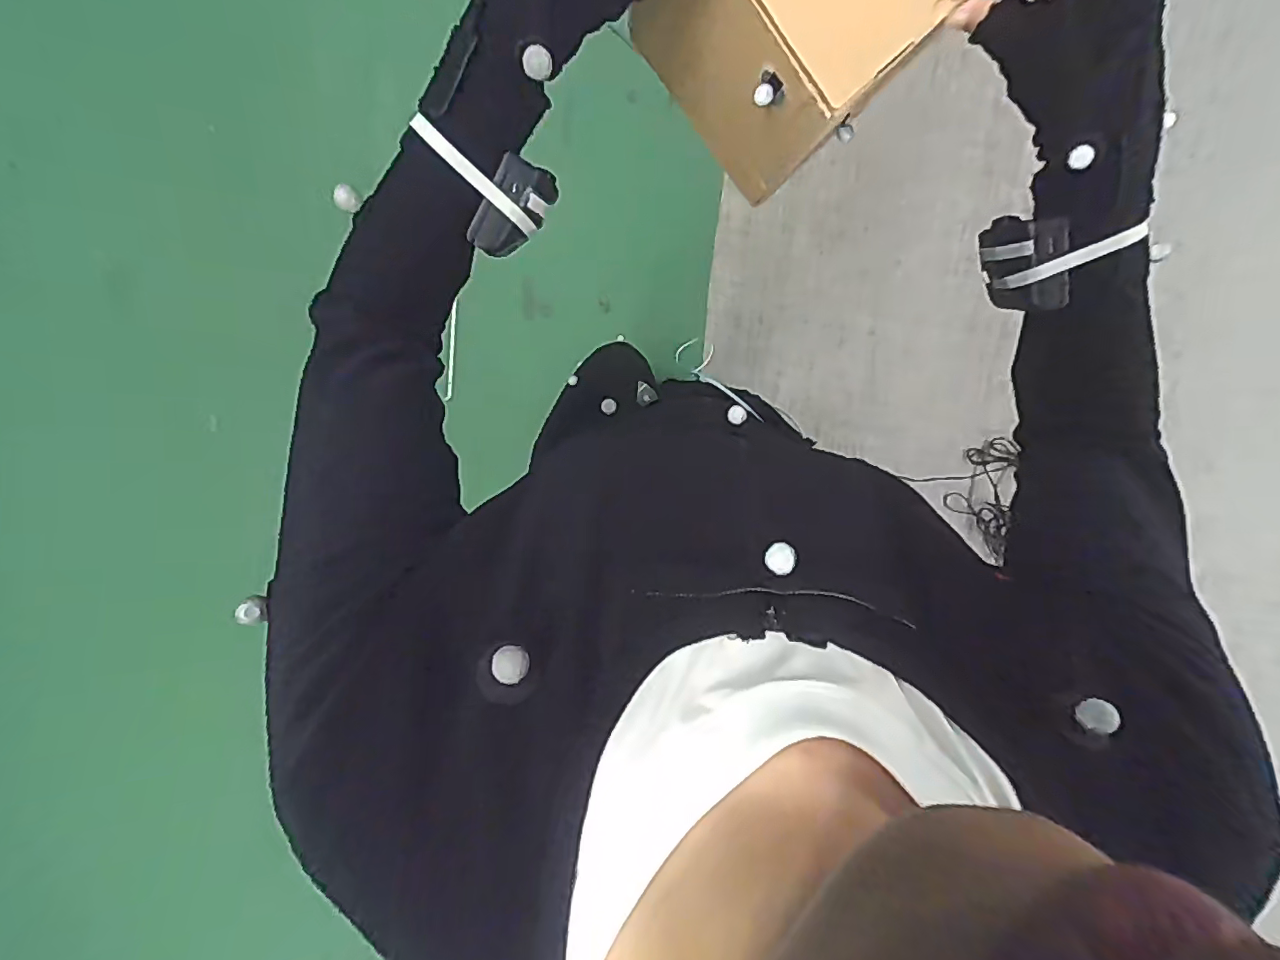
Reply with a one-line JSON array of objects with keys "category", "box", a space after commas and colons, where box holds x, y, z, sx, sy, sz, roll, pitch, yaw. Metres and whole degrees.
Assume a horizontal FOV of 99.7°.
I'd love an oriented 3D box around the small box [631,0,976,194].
[{"category": "small box", "box": [0.109, -0.345, 0.380, 0.168, 0.176, 0.179, -40, 102, 2]}]
